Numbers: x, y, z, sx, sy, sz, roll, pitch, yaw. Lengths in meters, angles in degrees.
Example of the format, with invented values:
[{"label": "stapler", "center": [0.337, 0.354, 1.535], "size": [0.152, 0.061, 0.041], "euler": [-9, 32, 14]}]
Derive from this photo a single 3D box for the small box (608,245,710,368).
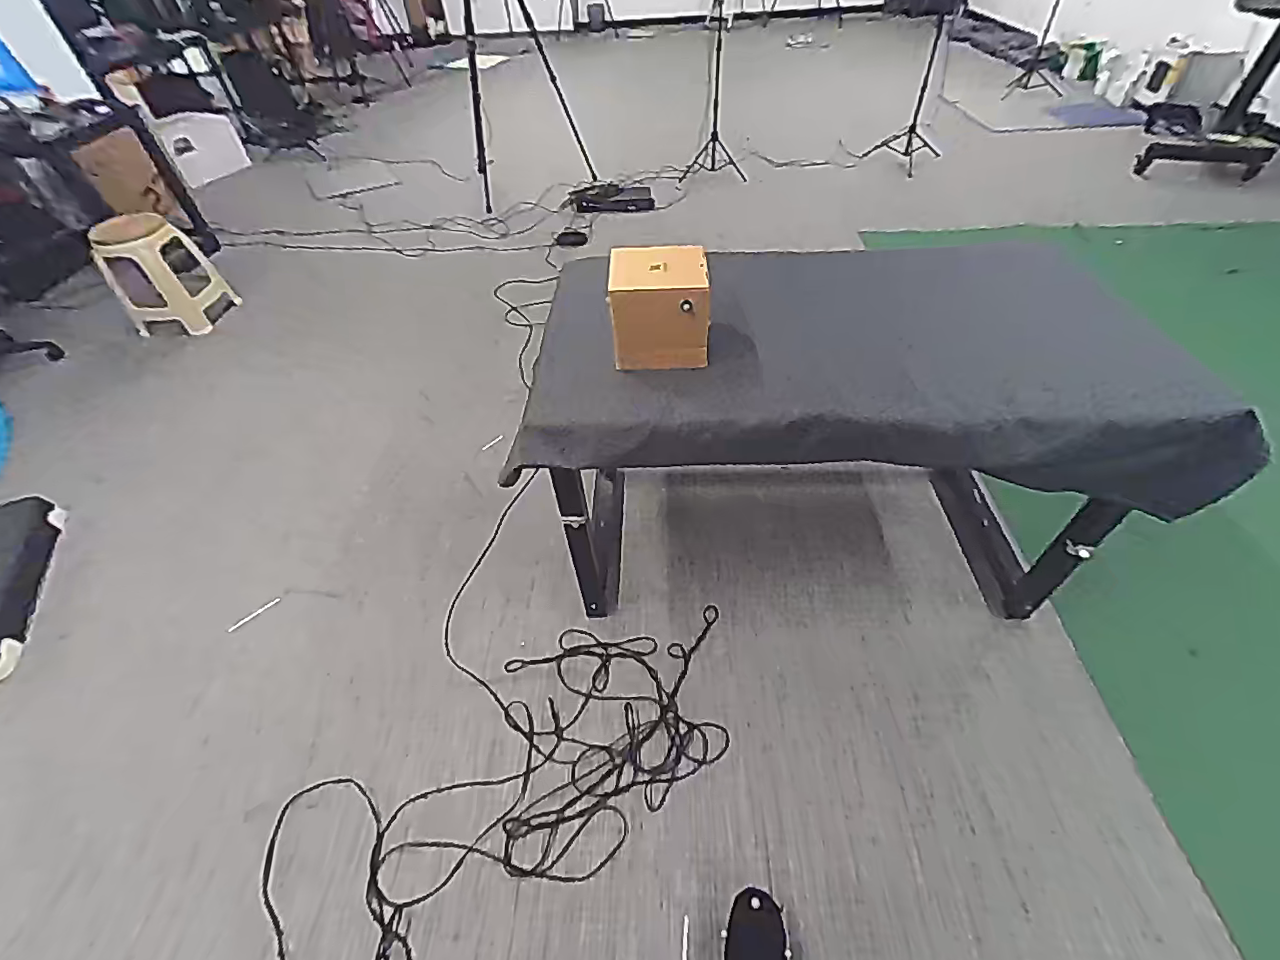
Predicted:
[{"label": "small box", "center": [0.037, -0.325, 1.026], "size": [0.179, 0.176, 0.168], "euler": [-1, 47, 2]}]
